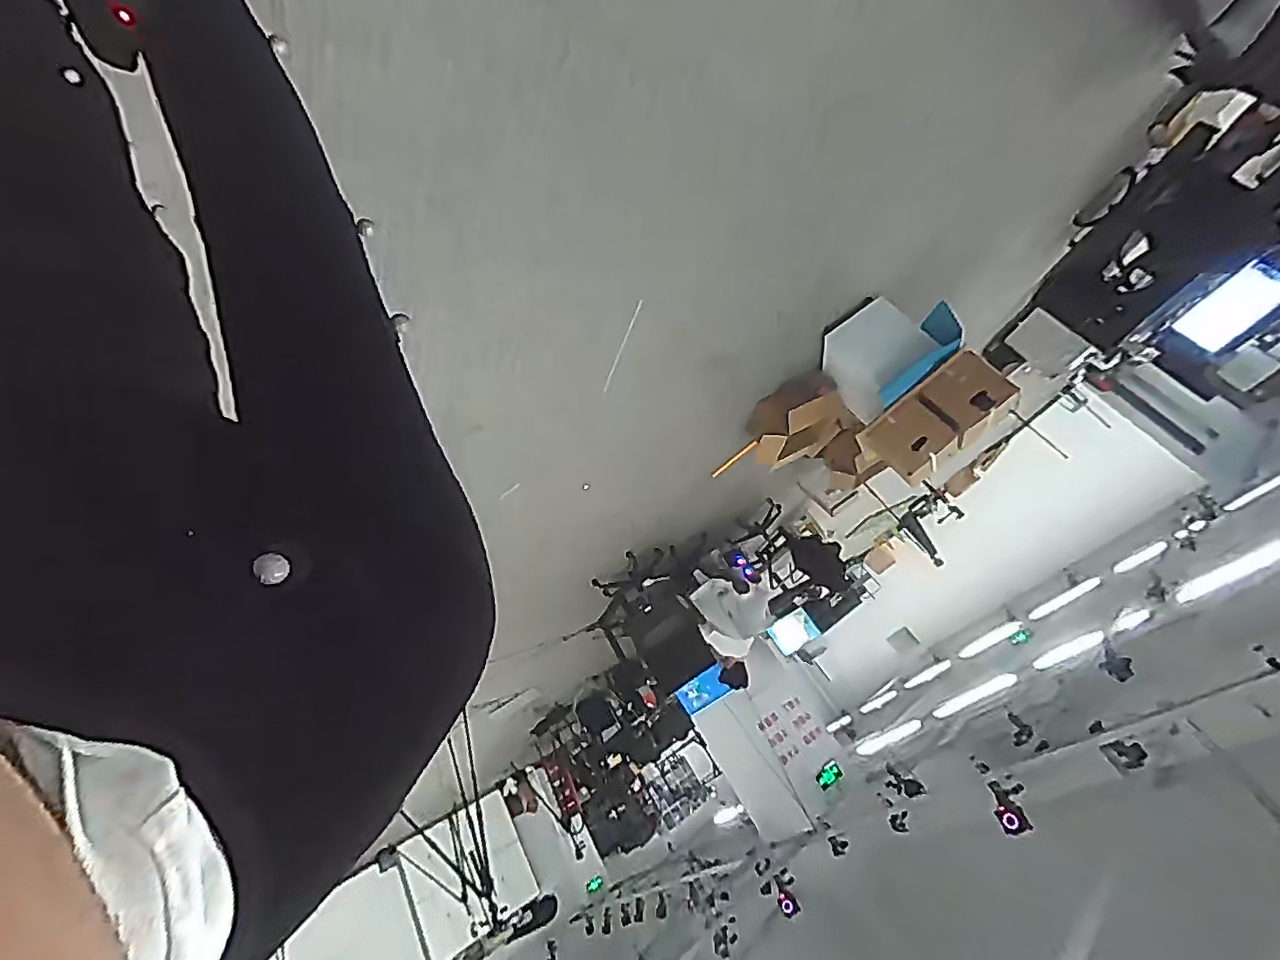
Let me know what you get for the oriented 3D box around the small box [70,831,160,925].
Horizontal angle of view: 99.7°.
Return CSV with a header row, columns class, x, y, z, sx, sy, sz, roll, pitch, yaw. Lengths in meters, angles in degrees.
class,x,y,z,sx,sy,sz,roll,pitch,yaw
small box,-1.615,1.223,1.668,0.168,0.176,0.179,-15,148,-37
